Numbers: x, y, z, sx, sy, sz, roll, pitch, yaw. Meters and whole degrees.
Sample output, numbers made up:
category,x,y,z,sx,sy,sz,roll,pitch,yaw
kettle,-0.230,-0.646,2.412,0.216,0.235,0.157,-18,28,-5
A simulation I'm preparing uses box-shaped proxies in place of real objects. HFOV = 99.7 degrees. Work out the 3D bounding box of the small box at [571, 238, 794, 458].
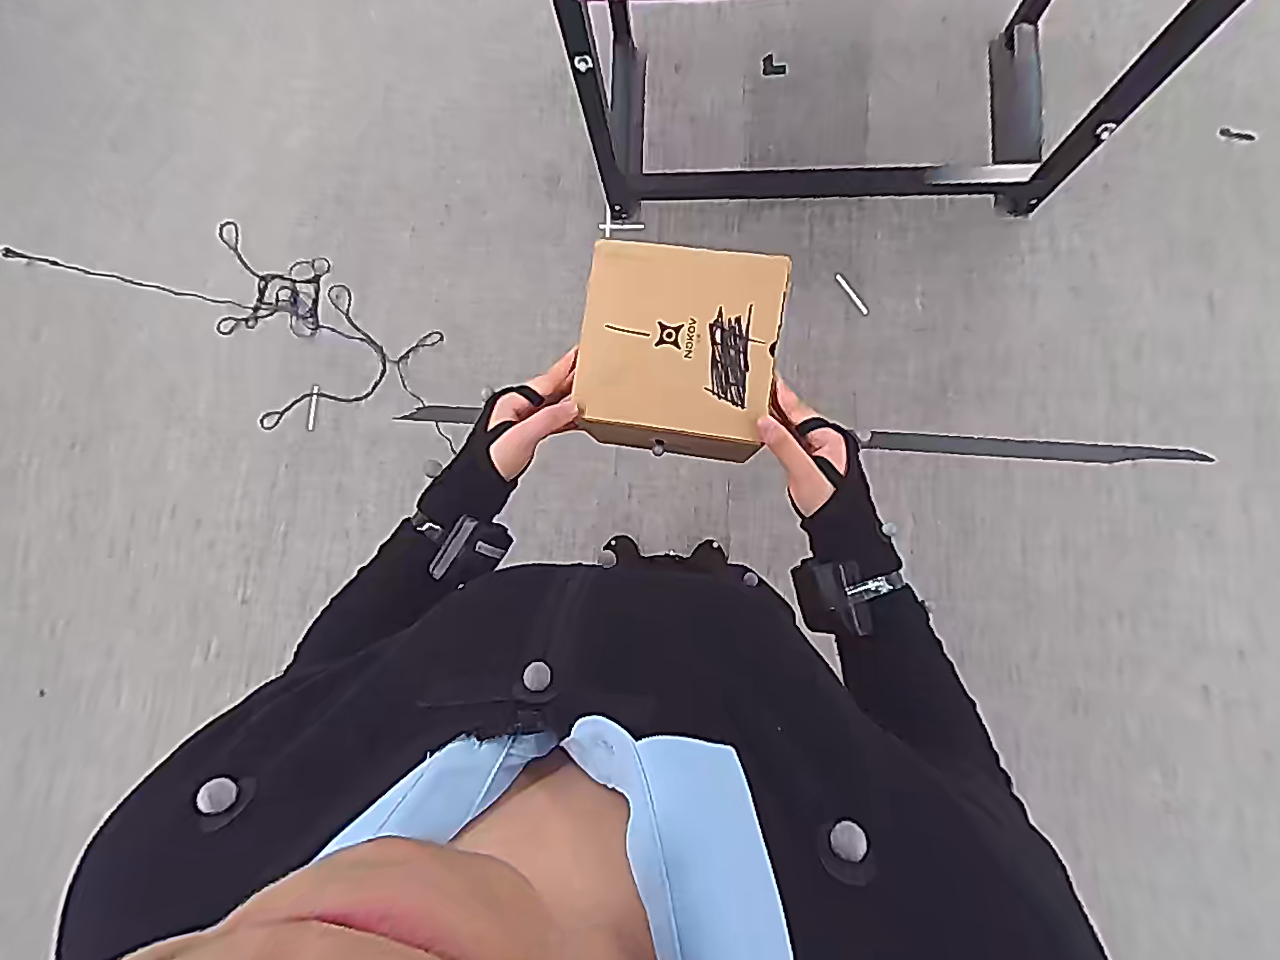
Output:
category,x,y,z,sx,sy,sz,roll,pitch,yaw
small box,0.043,-0.119,0.553,0.179,0.176,0.168,9,86,6
